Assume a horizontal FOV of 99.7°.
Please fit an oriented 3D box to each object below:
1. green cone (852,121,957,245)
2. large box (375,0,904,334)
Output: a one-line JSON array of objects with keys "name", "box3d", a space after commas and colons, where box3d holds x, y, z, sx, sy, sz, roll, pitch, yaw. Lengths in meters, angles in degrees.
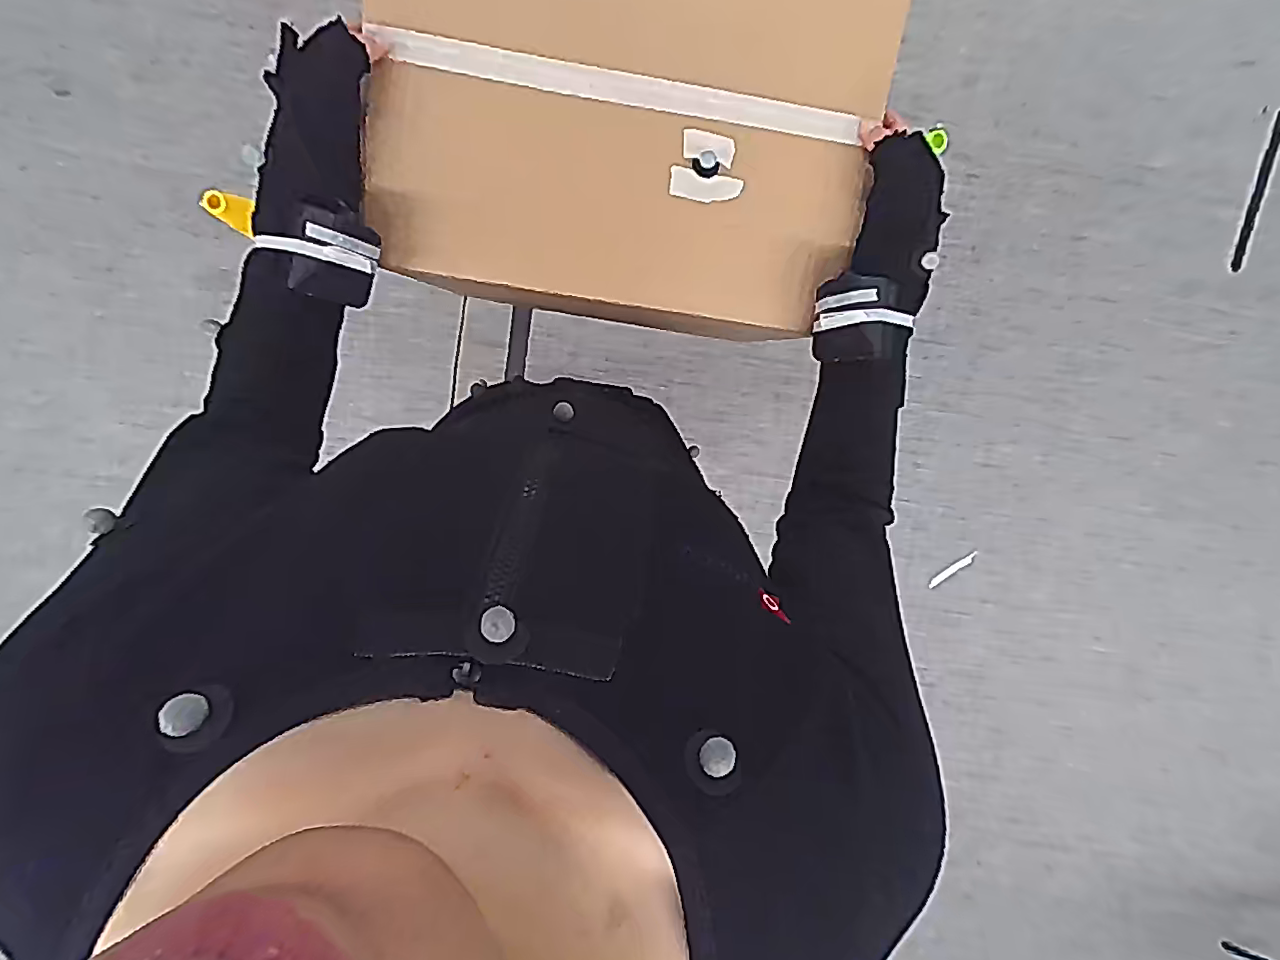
[{"name": "green cone", "box3d": [0.563, -0.683, 1.192, 0.202, 0.368, 0.200, -29, 102, 2]}, {"name": "large box", "box3d": [-0.012, -0.341, 0.570, 0.408, 0.320, 0.320, 7, 104, -5]}]
